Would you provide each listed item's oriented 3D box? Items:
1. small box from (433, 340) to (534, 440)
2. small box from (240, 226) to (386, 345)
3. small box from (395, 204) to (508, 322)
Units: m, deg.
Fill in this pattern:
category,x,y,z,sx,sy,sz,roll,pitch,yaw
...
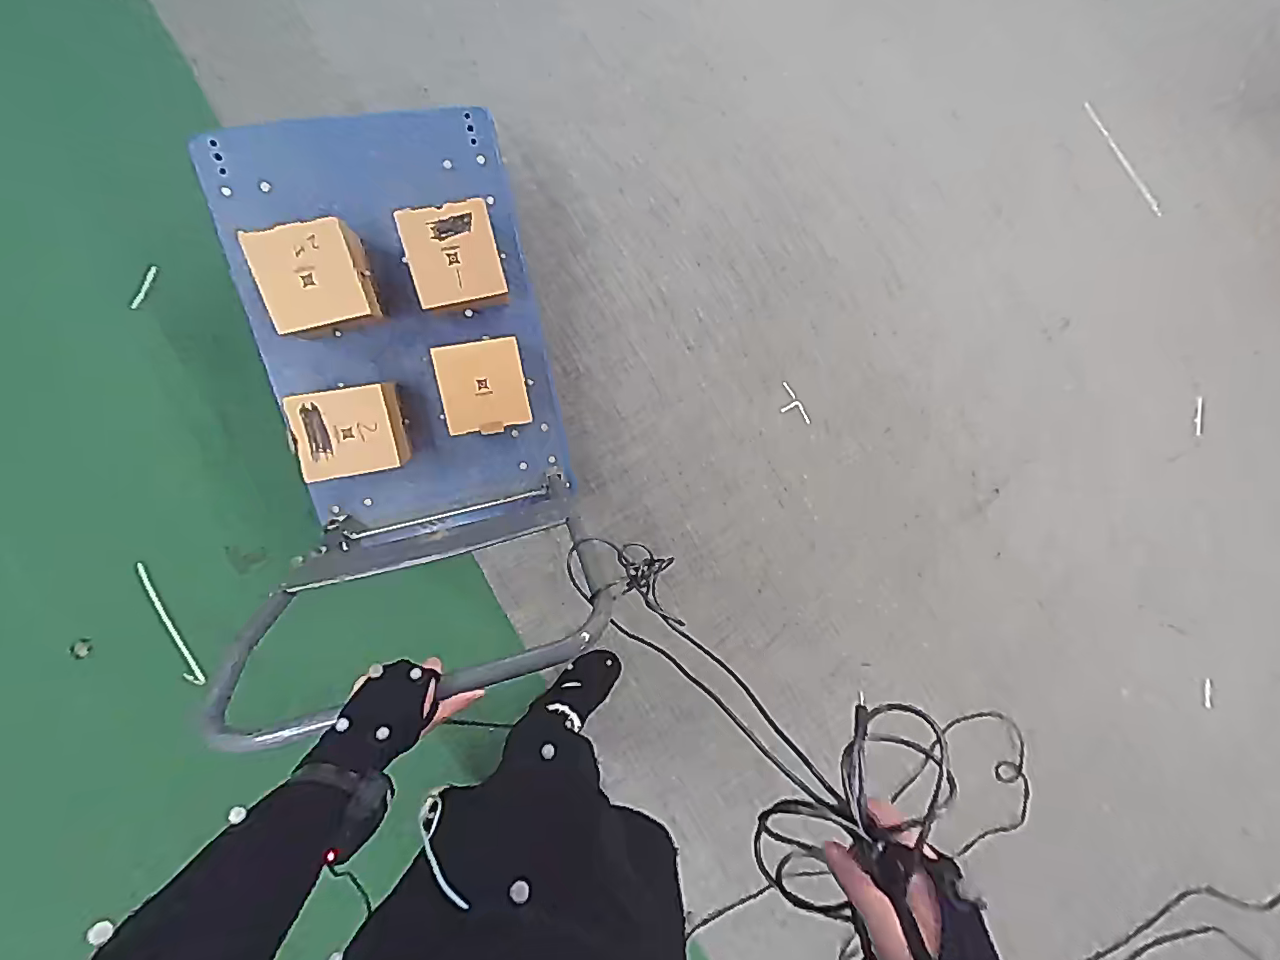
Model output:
category,x,y,z,sx,sy,sz,roll,pitch,yaw
small box,-0.328,-0.192,1.149,0.168,0.176,0.179,-13,104,-11
small box,-0.615,-0.366,1.047,0.168,0.176,0.179,-18,104,-10
small box,-0.372,-0.429,1.093,0.168,0.176,0.179,-16,104,-9
